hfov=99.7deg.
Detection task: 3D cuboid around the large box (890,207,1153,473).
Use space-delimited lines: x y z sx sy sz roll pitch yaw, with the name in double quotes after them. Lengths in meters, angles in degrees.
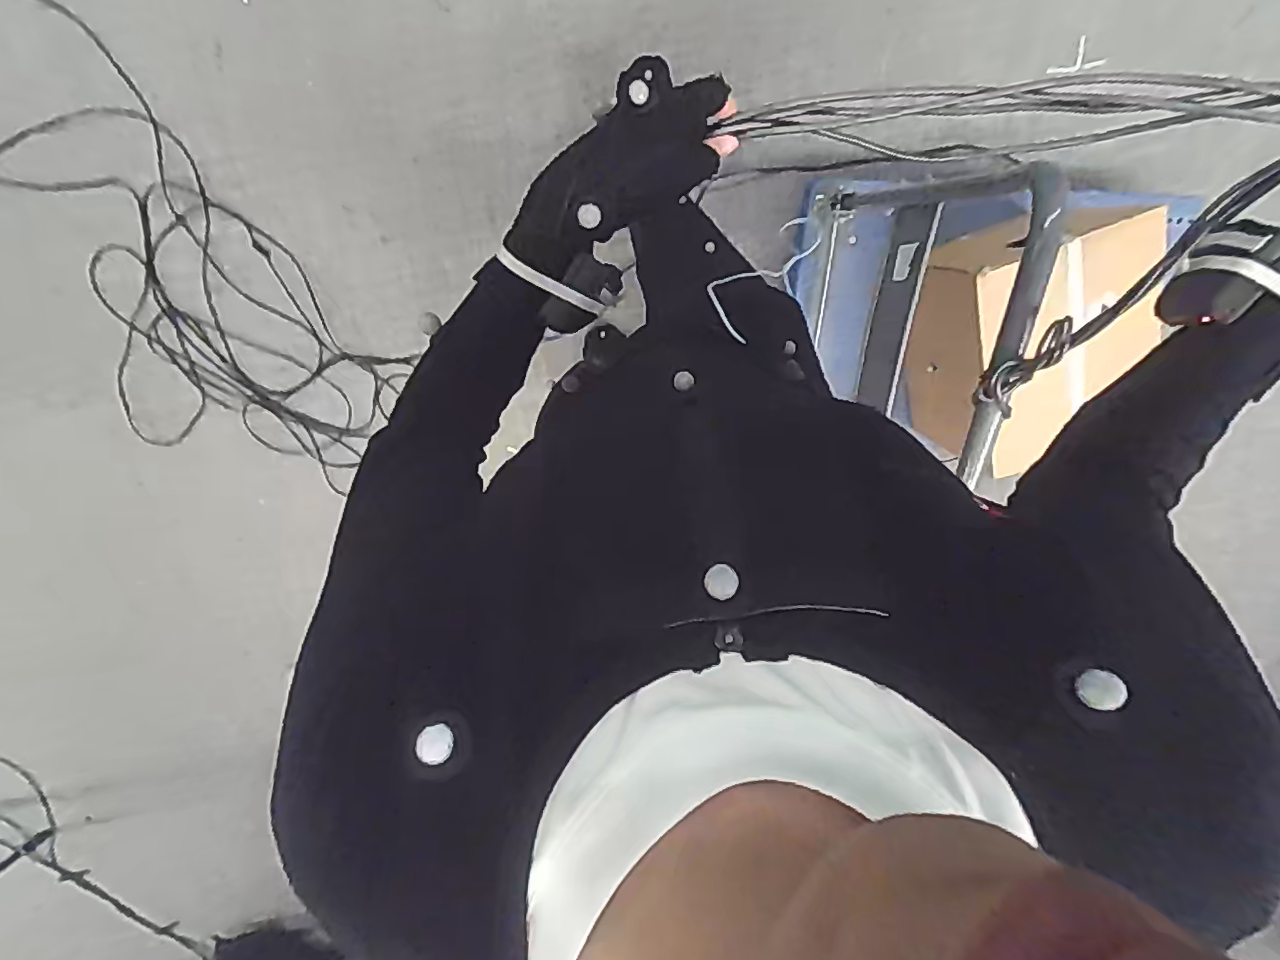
0.759 -0.288 1.110 0.320 0.320 0.408 -19 113 5 "large box"
